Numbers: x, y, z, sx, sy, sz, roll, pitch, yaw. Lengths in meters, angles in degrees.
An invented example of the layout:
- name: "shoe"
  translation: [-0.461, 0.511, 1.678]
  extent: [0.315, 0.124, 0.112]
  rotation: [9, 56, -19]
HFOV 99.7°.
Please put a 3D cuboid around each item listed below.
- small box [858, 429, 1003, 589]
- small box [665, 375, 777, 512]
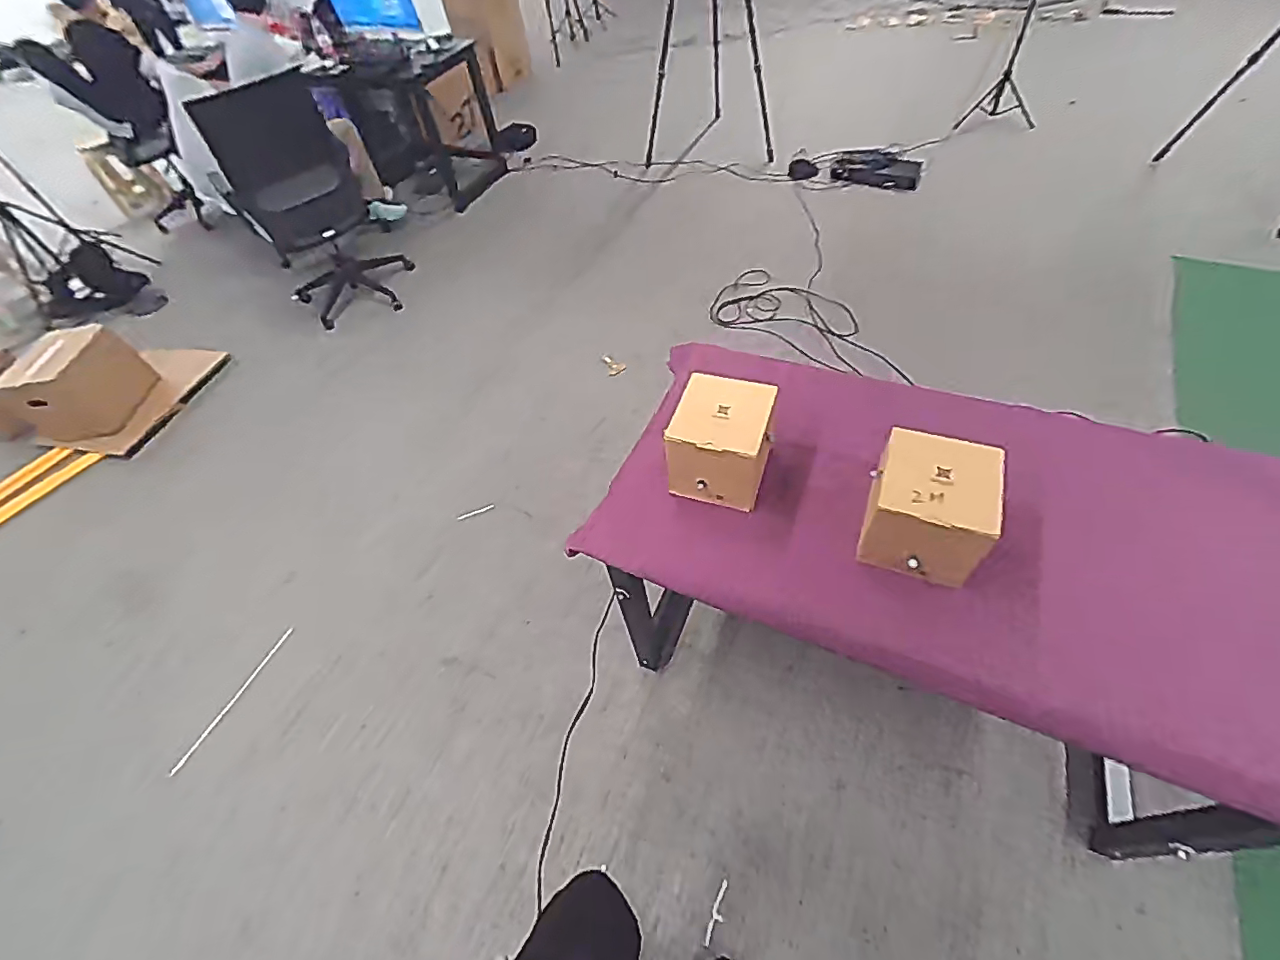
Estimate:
- name: "small box"
  translation: [0.471, 0.049, 0.892]
  extent: [0.168, 0.176, 0.179]
  rotation: [15, 56, 19]
- name: "small box"
  translation: [0.154, -0.068, 1.029]
  extent: [0.168, 0.176, 0.179]
  rotation: [13, 56, 17]
